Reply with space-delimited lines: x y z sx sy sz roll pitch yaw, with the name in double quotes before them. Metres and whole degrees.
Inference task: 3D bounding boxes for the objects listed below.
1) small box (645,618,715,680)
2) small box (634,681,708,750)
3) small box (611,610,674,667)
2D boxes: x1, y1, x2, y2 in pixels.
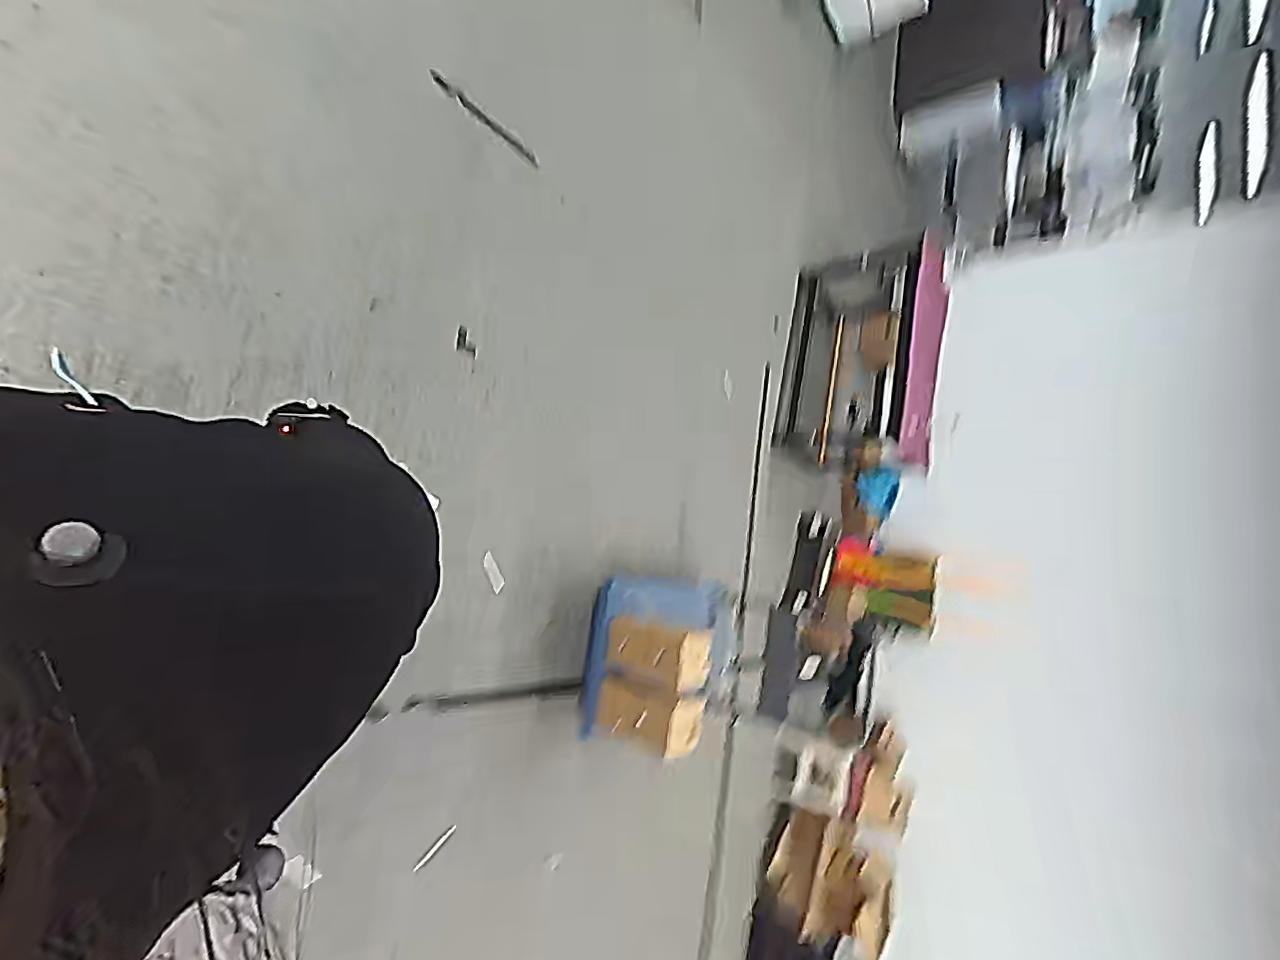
"small box" 0.137 0.581 1.879 0.179 0.176 0.168 10 85 -48
"small box" 0.105 0.798 1.850 0.179 0.176 0.168 18 79 -48
"small box" 0.012 0.578 1.987 0.179 0.176 0.168 13 83 -50
